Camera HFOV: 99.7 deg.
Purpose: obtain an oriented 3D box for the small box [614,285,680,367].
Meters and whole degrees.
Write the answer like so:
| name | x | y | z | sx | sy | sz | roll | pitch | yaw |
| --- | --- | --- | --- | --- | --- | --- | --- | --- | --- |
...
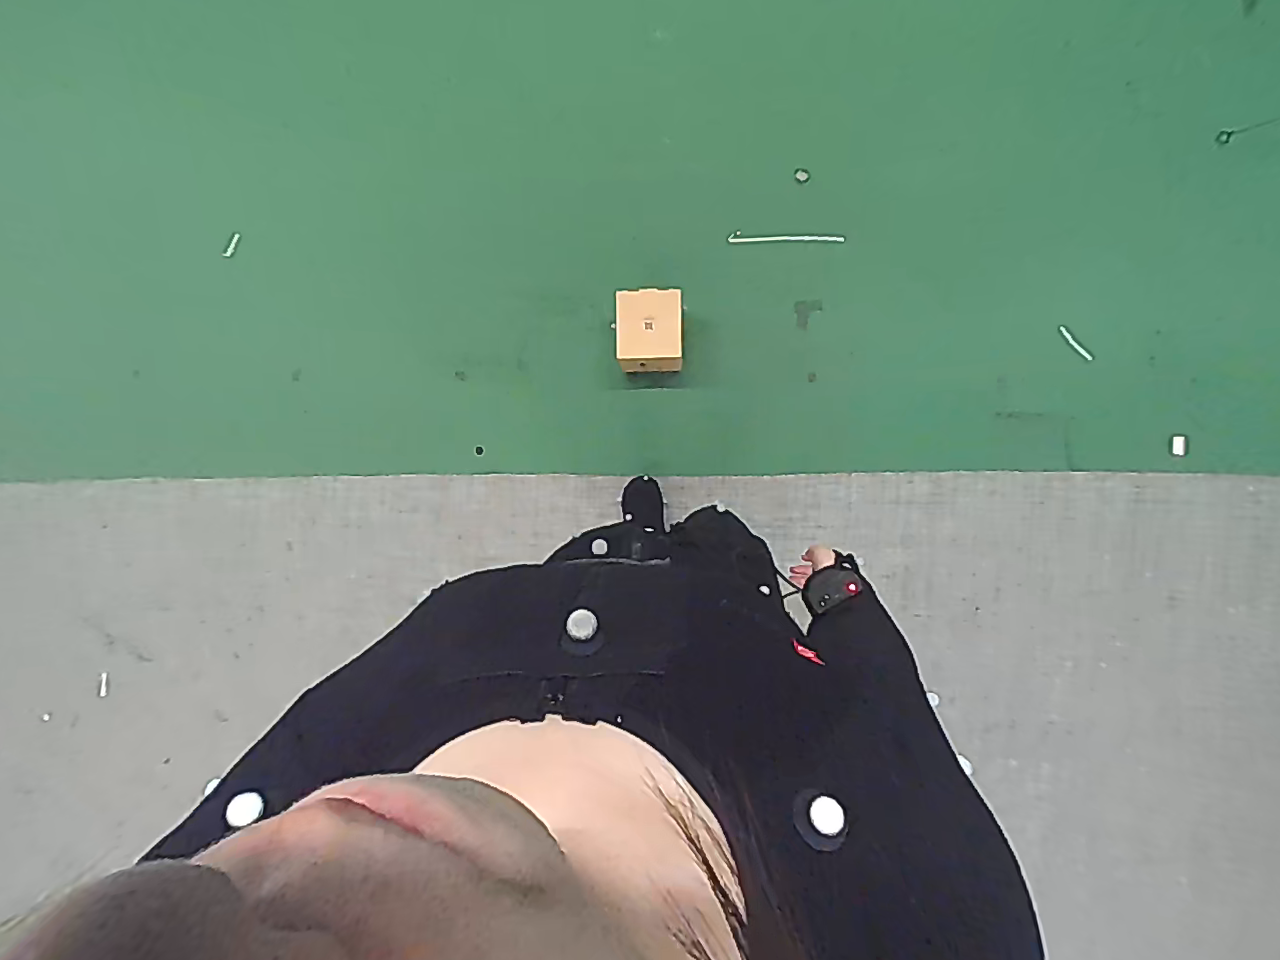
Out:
| name | x | y | z | sx | sy | sz | roll | pitch | yaw |
| --- | --- | --- | --- | --- | --- | --- | --- | --- | --- |
| small box | 0.023 | -0.399 | 1.431 | 0.168 | 0.176 | 0.179 | -1 | 89 | 4 |
